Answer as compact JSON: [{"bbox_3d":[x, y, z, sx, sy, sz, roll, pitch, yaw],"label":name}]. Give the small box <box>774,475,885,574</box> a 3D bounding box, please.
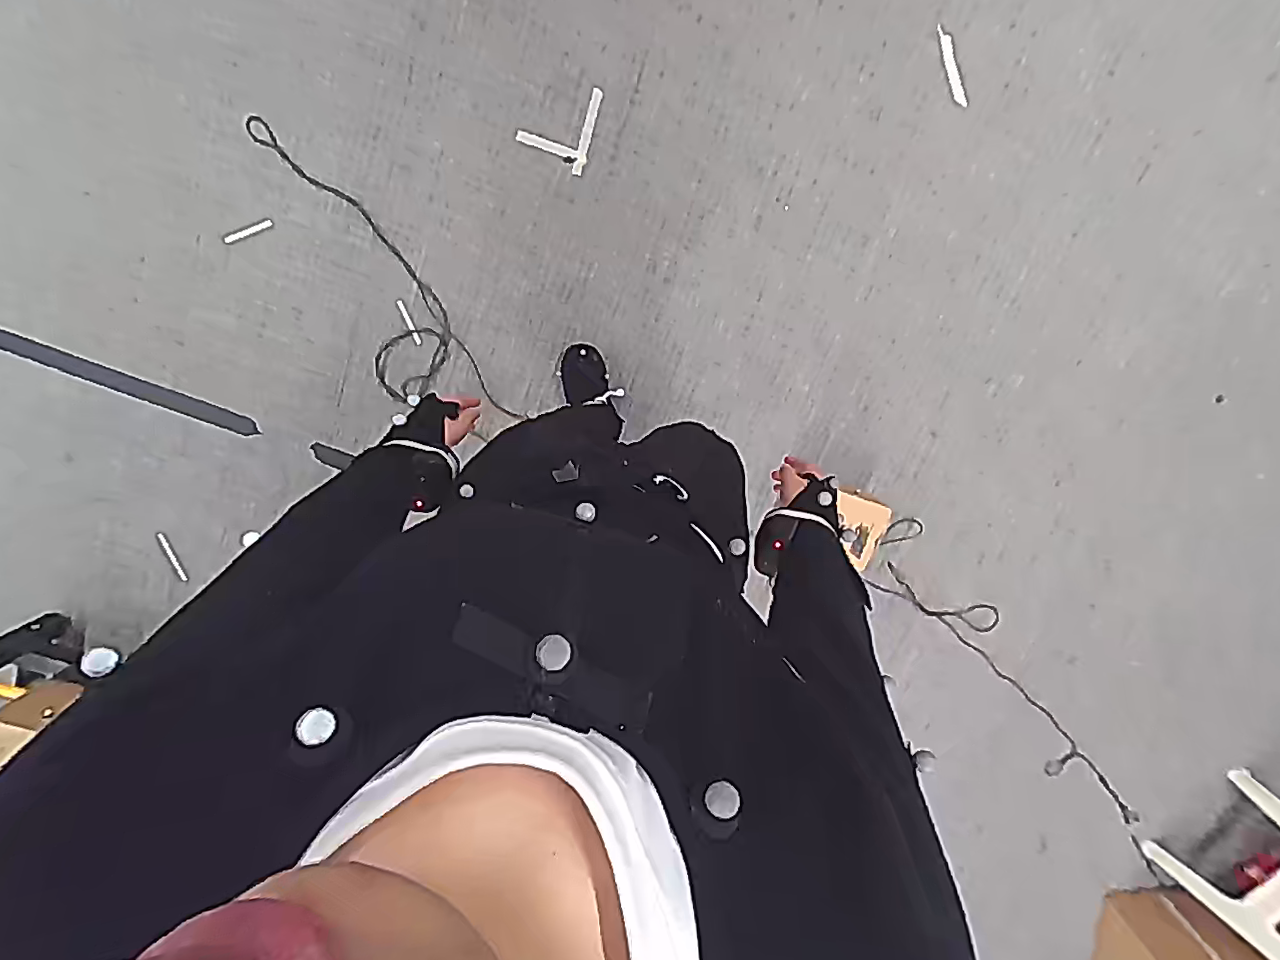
[{"bbox_3d":[0.452,0.101,1.320,0.179,0.176,0.168,19,103,-4],"label":"small box"}]
